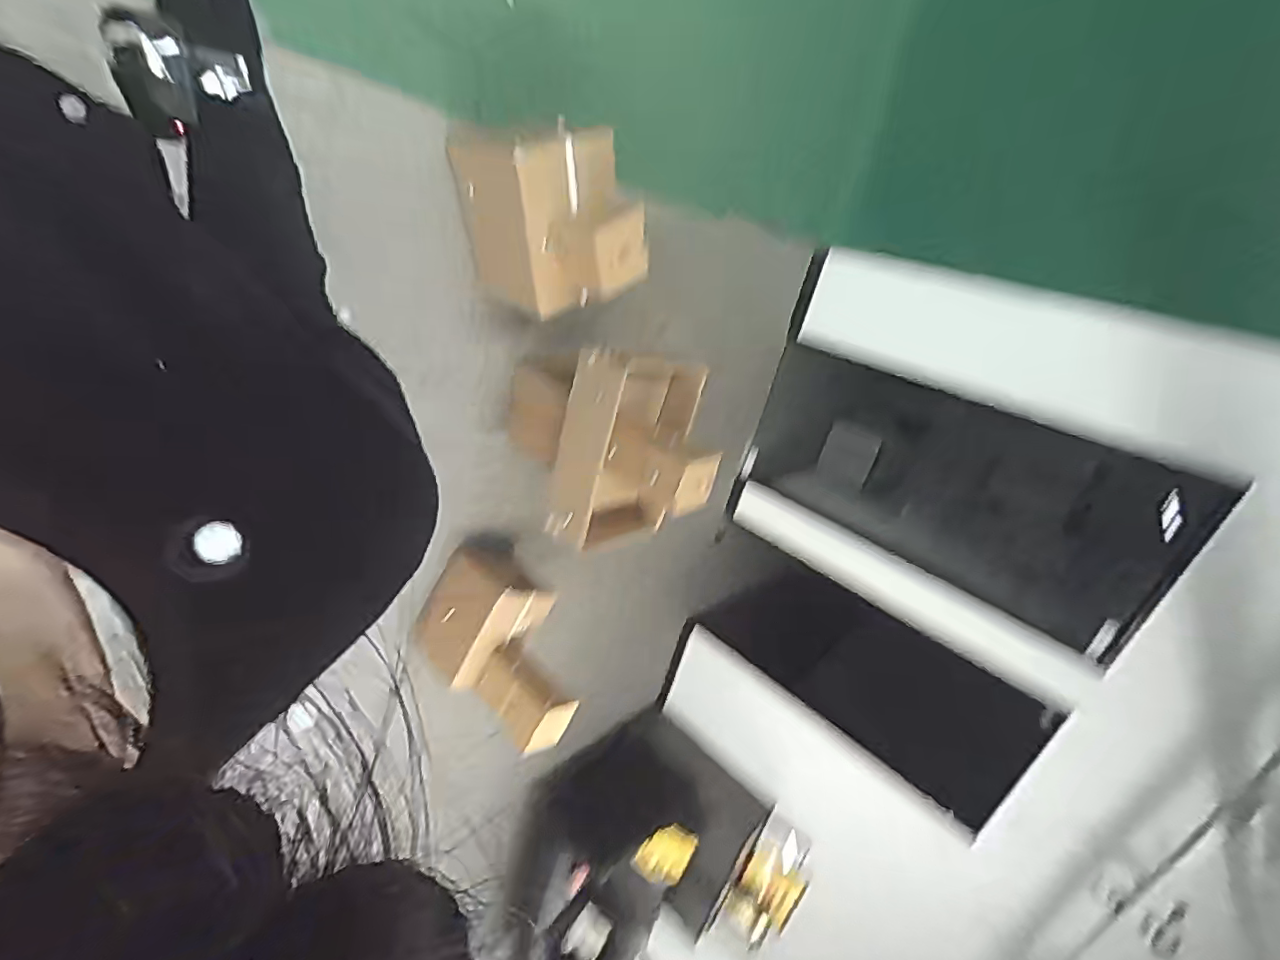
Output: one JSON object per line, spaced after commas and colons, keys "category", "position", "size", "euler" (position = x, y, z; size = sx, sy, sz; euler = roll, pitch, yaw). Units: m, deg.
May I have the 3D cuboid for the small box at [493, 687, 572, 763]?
{"category": "small box", "position": [-0.381, 0.852, 1.904], "size": [0.179, 0.176, 0.168], "euler": [19, 100, -56]}

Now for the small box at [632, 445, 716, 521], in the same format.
{"category": "small box", "position": [0.100, 0.004, 1.668], "size": [0.179, 0.176, 0.168], "euler": [-13, 125, -46]}

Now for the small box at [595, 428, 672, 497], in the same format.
{"category": "small box", "position": [-0.016, -0.063, 1.763], "size": [0.179, 0.176, 0.168], "euler": [-10, 122, -48]}
